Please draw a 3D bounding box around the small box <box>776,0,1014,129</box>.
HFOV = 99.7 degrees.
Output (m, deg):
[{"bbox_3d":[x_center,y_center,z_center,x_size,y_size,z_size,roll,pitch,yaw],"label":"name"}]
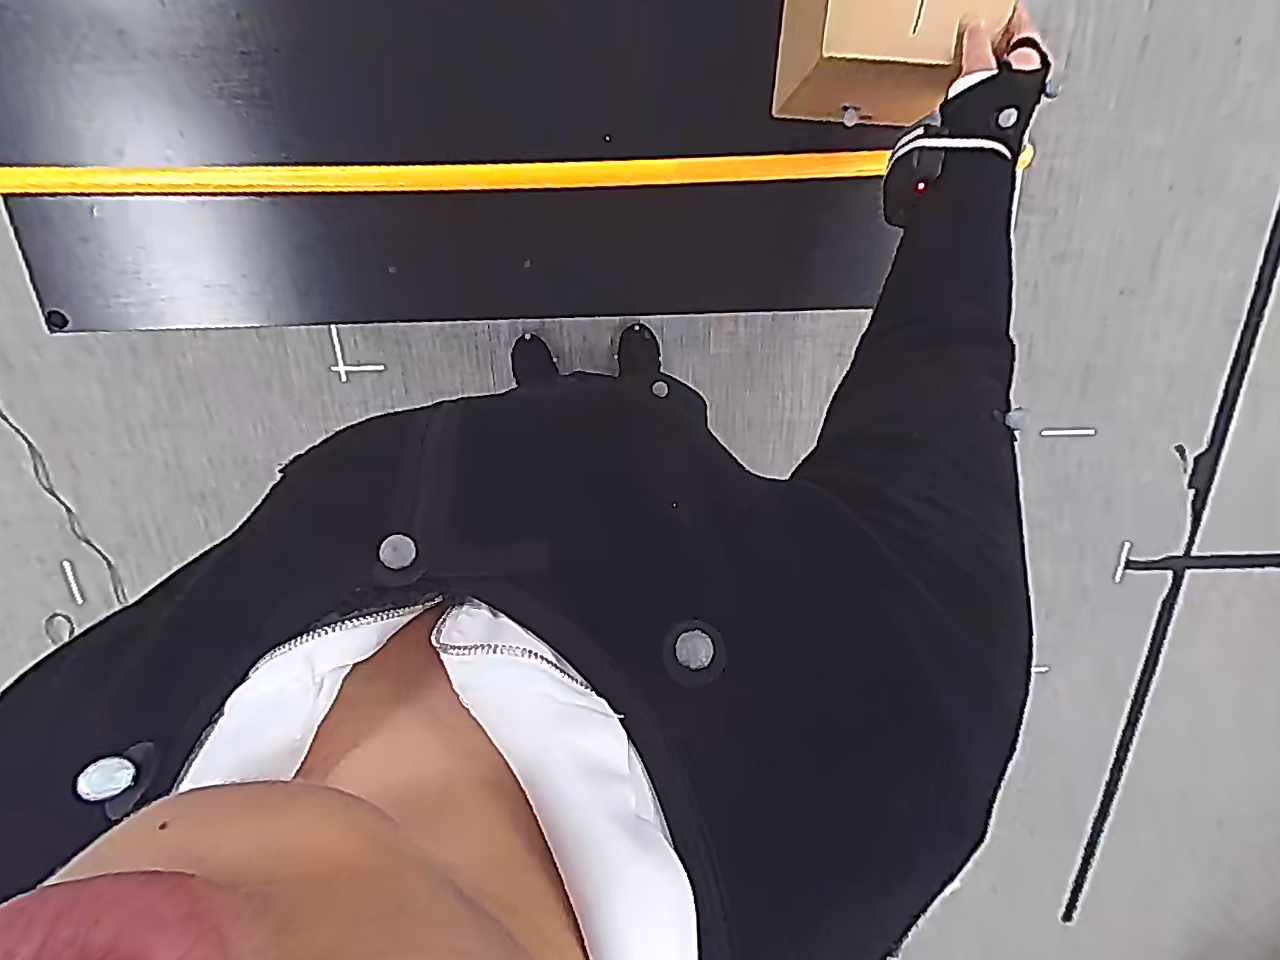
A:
[{"bbox_3d":[0.244,-0.479,0.533,0.168,0.176,0.179,3,108,-2],"label":"small box"}]
